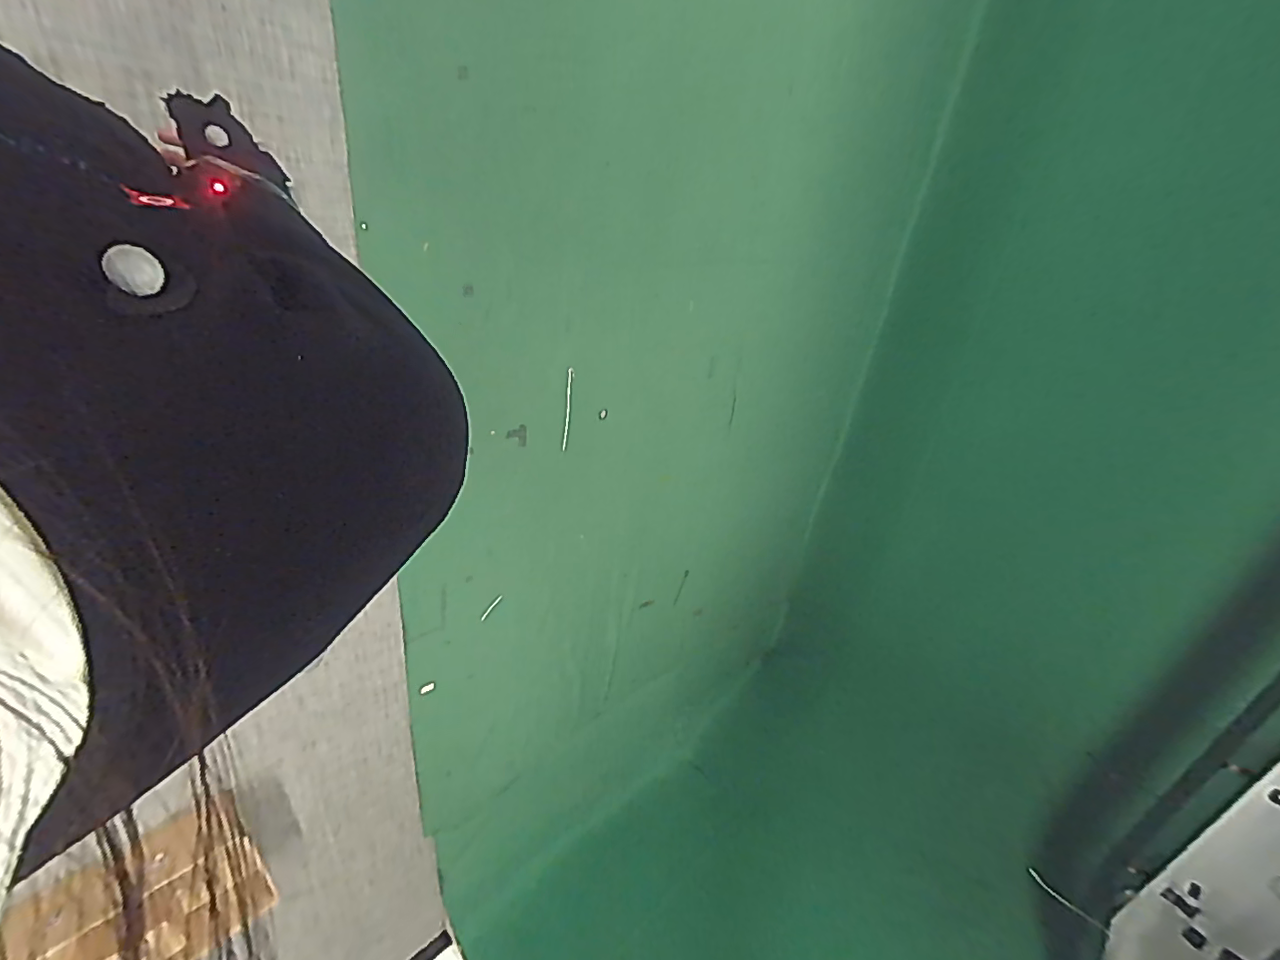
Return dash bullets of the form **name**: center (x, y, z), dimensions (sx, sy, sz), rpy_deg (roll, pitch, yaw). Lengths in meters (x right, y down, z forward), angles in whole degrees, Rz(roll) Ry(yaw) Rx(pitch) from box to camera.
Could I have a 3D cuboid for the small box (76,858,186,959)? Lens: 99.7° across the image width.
- **small box**: center (-1.393, 1.197, 1.478), dimensions (0.179, 0.176, 0.168), rpy_deg (-25, 133, -41)
